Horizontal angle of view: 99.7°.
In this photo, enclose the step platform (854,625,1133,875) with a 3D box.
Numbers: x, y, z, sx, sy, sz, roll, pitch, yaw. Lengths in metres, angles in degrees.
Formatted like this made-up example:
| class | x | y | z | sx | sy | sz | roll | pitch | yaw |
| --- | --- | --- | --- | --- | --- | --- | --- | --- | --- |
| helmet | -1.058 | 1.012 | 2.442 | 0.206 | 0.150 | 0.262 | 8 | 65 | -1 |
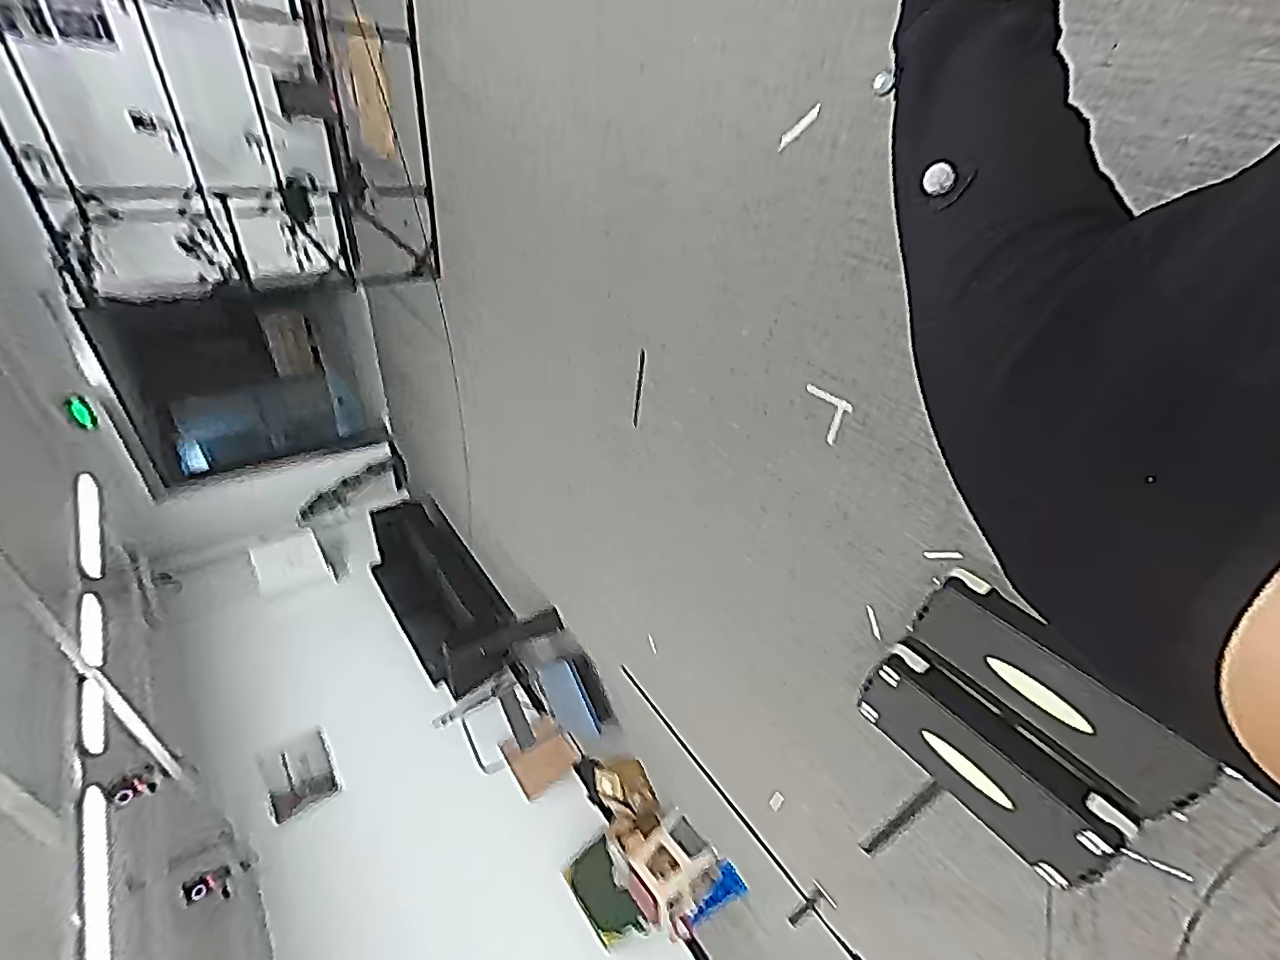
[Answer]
| class | x | y | z | sx | sy | sz | roll | pitch | yaw |
| --- | --- | --- | --- | --- | --- | --- | --- | --- | --- |
| step platform | 0.987 | 0.768 | 1.601 | 0.684 | 0.204 | 0.286 | 41 | 138 | 38 |
